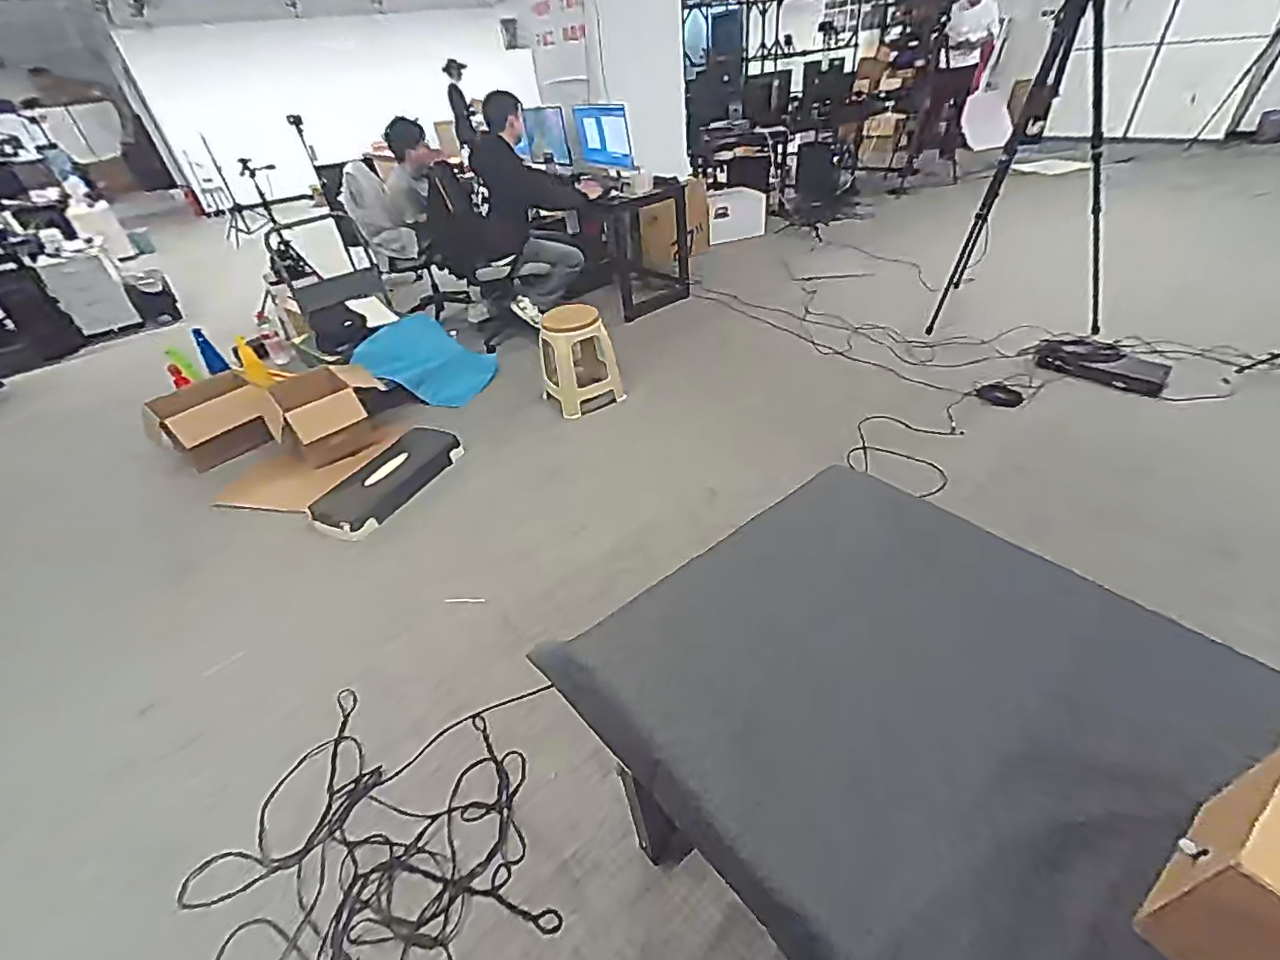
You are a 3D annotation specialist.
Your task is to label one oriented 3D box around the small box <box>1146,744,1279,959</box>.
[{"bbox_3d":[0.547,0.343,0.416,0.179,0.176,0.168,-27,43,-25],"label":"small box"}]
